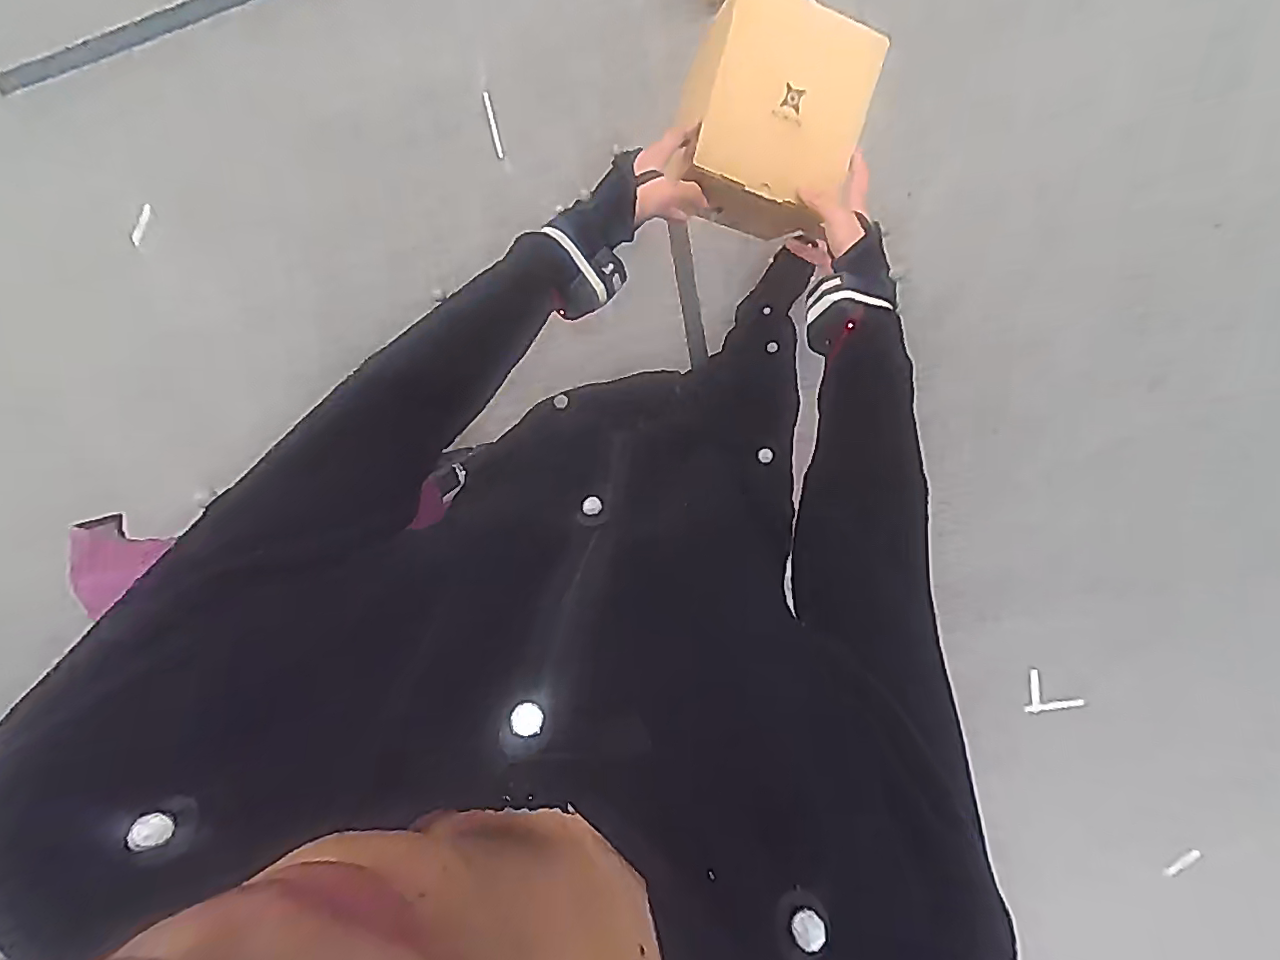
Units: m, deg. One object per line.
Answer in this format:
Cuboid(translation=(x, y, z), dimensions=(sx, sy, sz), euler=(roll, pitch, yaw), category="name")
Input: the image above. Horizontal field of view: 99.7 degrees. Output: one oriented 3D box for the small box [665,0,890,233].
Cuboid(translation=(0.139, -0.404, 0.616), dimensions=(0.168, 0.176, 0.179), euler=(12, 105, -14), category="small box")
